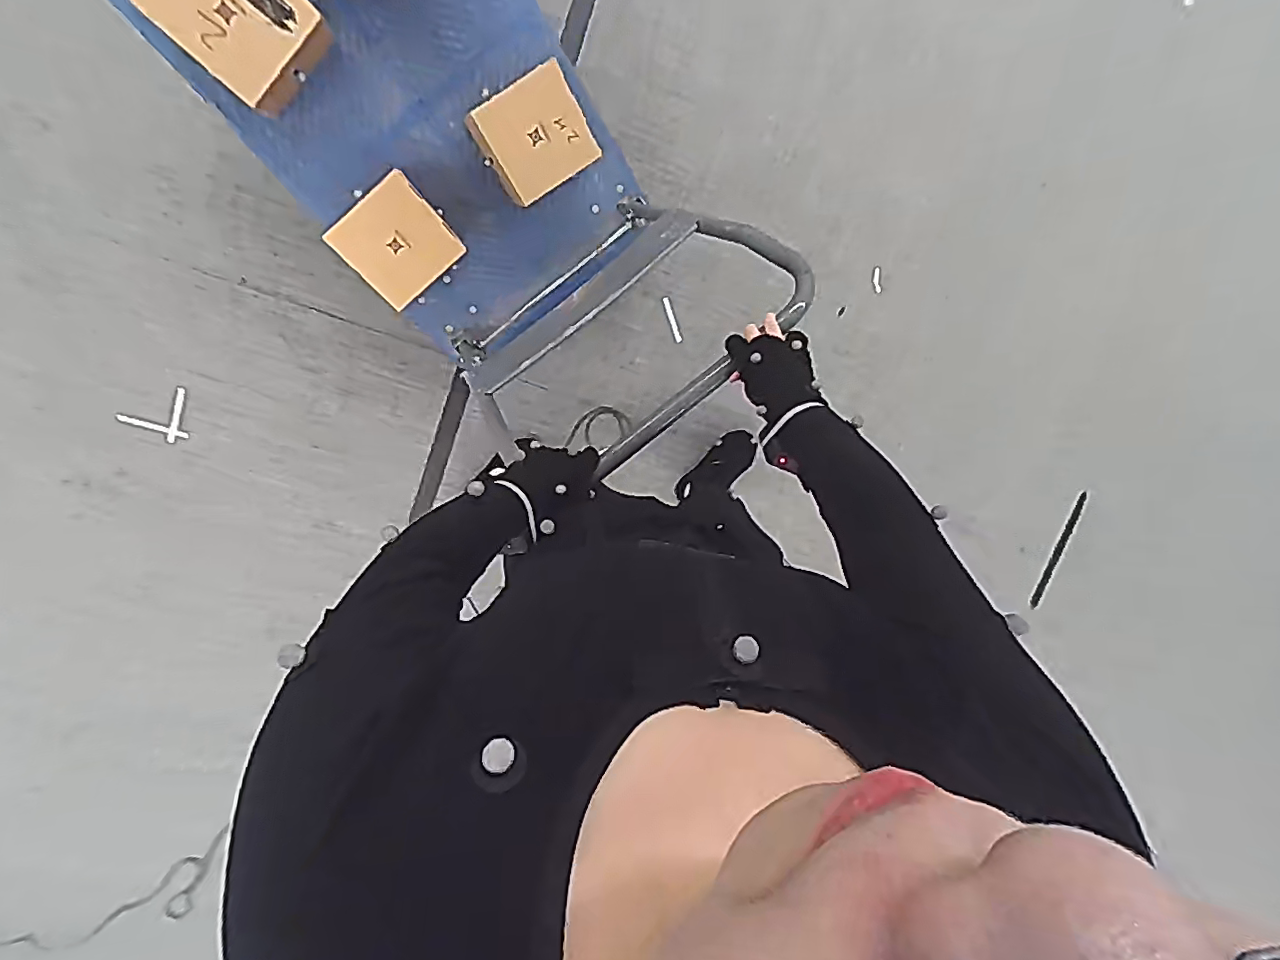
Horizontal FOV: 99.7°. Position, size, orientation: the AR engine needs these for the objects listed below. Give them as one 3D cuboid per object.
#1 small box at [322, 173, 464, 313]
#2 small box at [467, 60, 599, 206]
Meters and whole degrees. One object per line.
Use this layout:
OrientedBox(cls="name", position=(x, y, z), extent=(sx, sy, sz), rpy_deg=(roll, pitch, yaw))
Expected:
OrientedBox(cls="small box", position=(-0.458, -0.447, 1.023), extent=(0.179, 0.176, 0.168), rpy_deg=(-42, 124, 2))
OrientedBox(cls="small box", position=(-0.207, -0.642, 1.019), extent=(0.179, 0.176, 0.168), rpy_deg=(-35, 125, -1))
